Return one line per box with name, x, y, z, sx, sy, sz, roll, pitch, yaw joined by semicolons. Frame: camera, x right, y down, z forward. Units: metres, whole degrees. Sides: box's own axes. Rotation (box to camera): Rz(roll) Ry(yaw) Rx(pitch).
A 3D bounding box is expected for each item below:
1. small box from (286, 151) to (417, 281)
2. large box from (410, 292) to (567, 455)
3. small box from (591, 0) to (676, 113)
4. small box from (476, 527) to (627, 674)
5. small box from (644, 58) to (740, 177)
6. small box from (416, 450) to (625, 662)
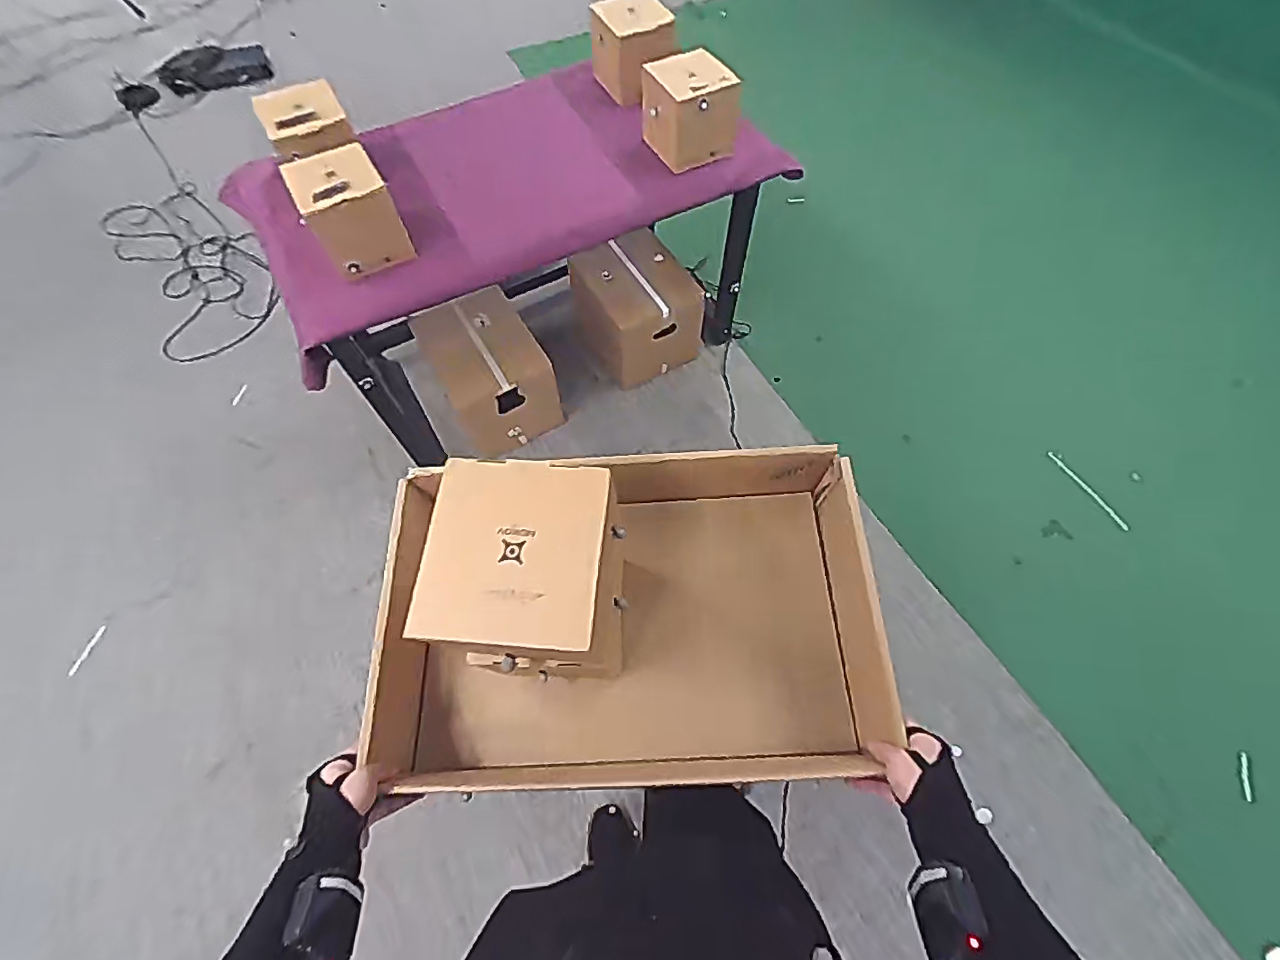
small box;-0.602;-0.549;1.146;0.168;0.176;0.179;-28;64;-14
large box;-0.484;-0.327;1.777;0.320;0.320;0.408;-29;65;-15
small box;-0.017;-1.126;1.441;0.168;0.176;0.179;-26;66;-10
small box;-0.104;0.159;0.723;0.168;0.176;0.179;1;67;1
small box;0.120;-0.875;1.310;0.168;0.176;0.179;-26;63;-11
small box;-0.107;0.088;0.576;0.168;0.176;0.179;5;67;4
